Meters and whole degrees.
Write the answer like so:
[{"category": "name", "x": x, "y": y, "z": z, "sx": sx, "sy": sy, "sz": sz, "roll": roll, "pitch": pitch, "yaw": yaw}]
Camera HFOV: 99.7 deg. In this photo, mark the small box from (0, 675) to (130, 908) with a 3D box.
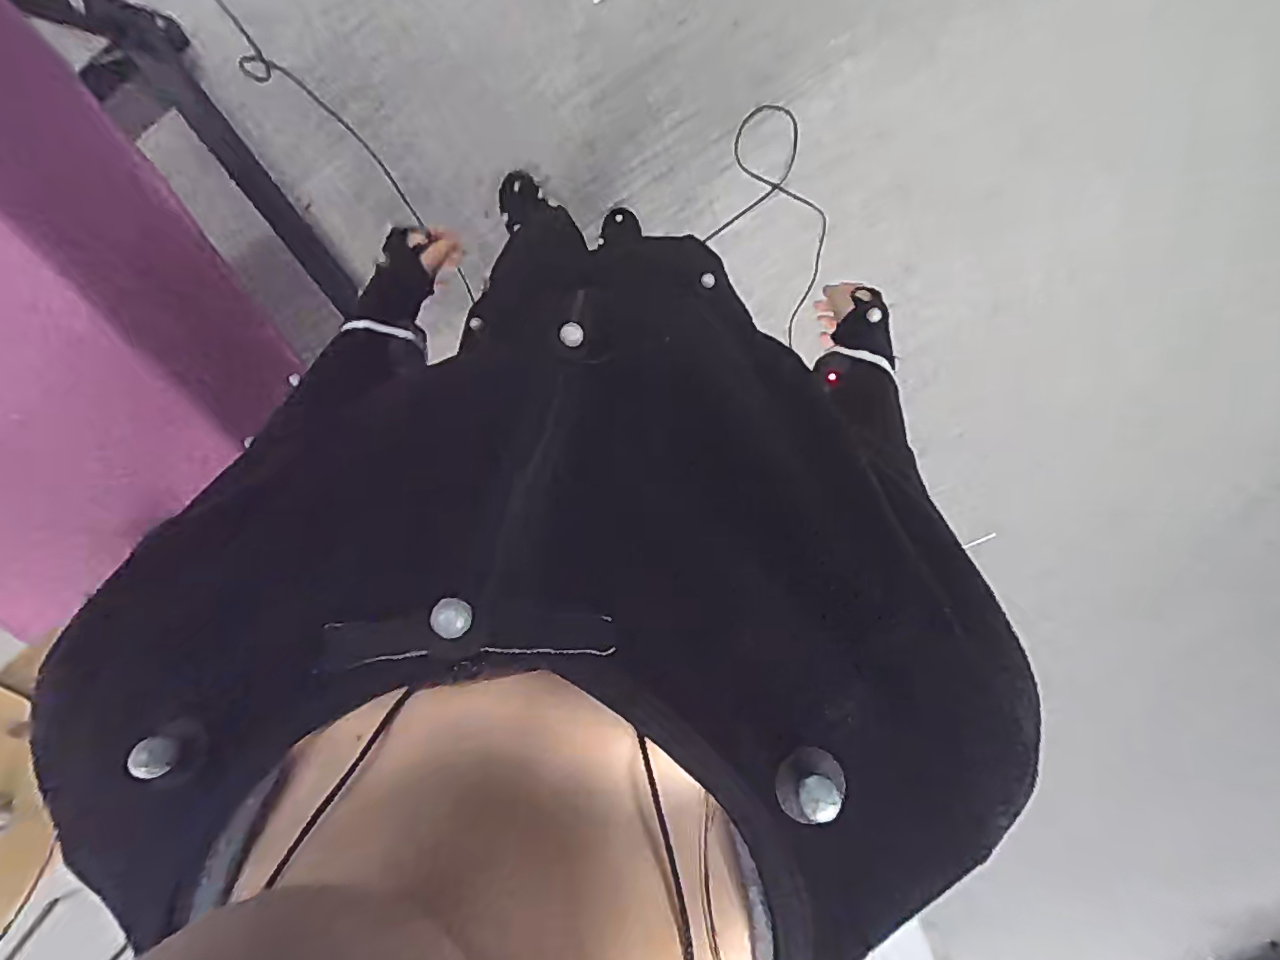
[{"category": "small box", "x": -0.640, "y": 0.309, "z": 0.497, "sx": 0.179, "sy": 0.176, "sz": 0.168, "roll": -36, "pitch": 113, "yaw": 19}]
